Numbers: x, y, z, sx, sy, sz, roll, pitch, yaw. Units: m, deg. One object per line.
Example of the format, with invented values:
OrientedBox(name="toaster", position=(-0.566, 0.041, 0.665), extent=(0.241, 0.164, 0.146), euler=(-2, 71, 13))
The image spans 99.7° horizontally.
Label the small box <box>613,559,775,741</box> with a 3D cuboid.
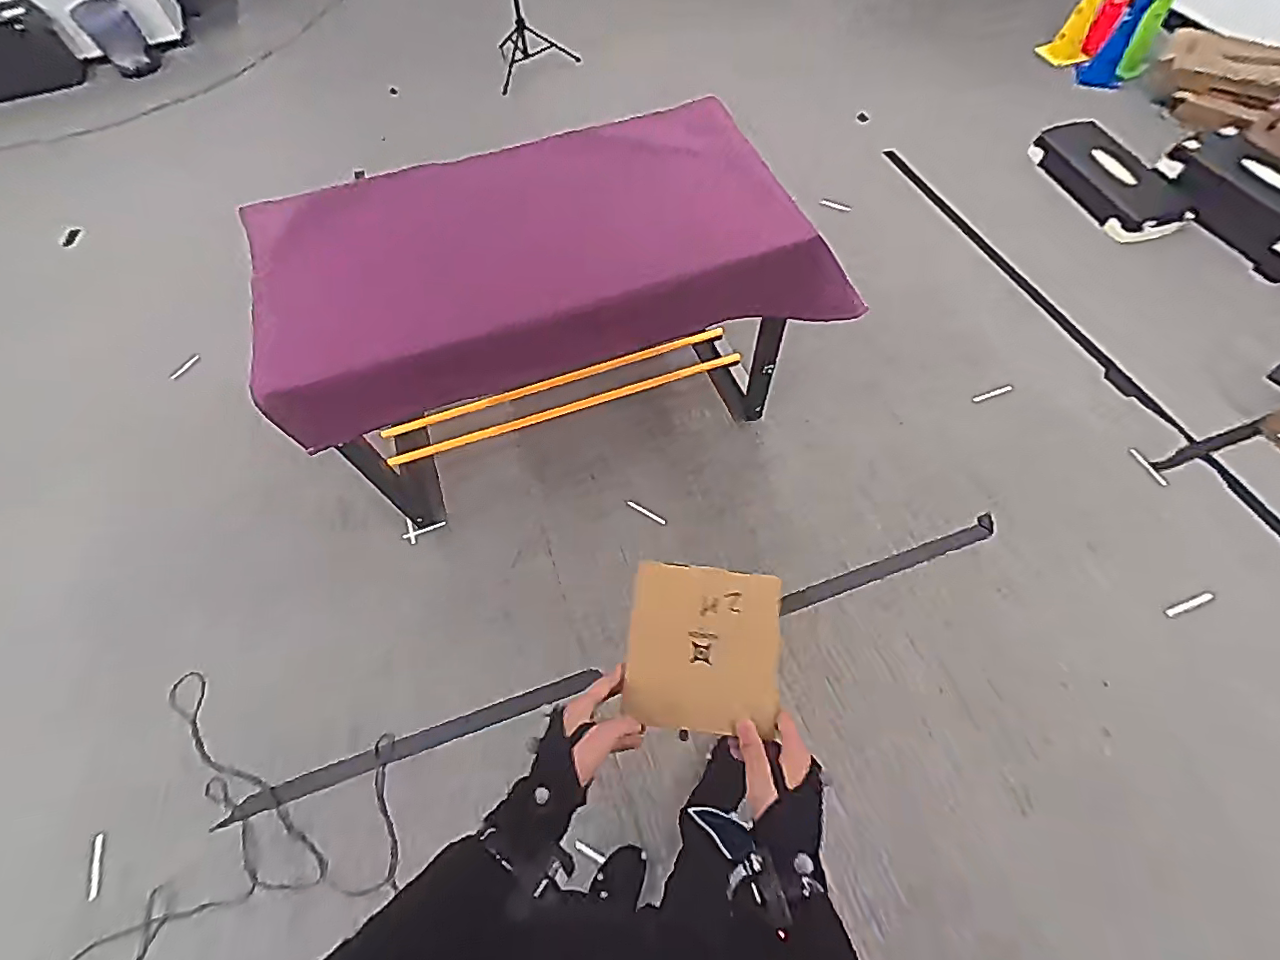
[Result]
OrientedBox(name="small box", position=(0.062, 0.208, 0.662), extent=(0.168, 0.176, 0.179), euler=(6, 68, 1))
